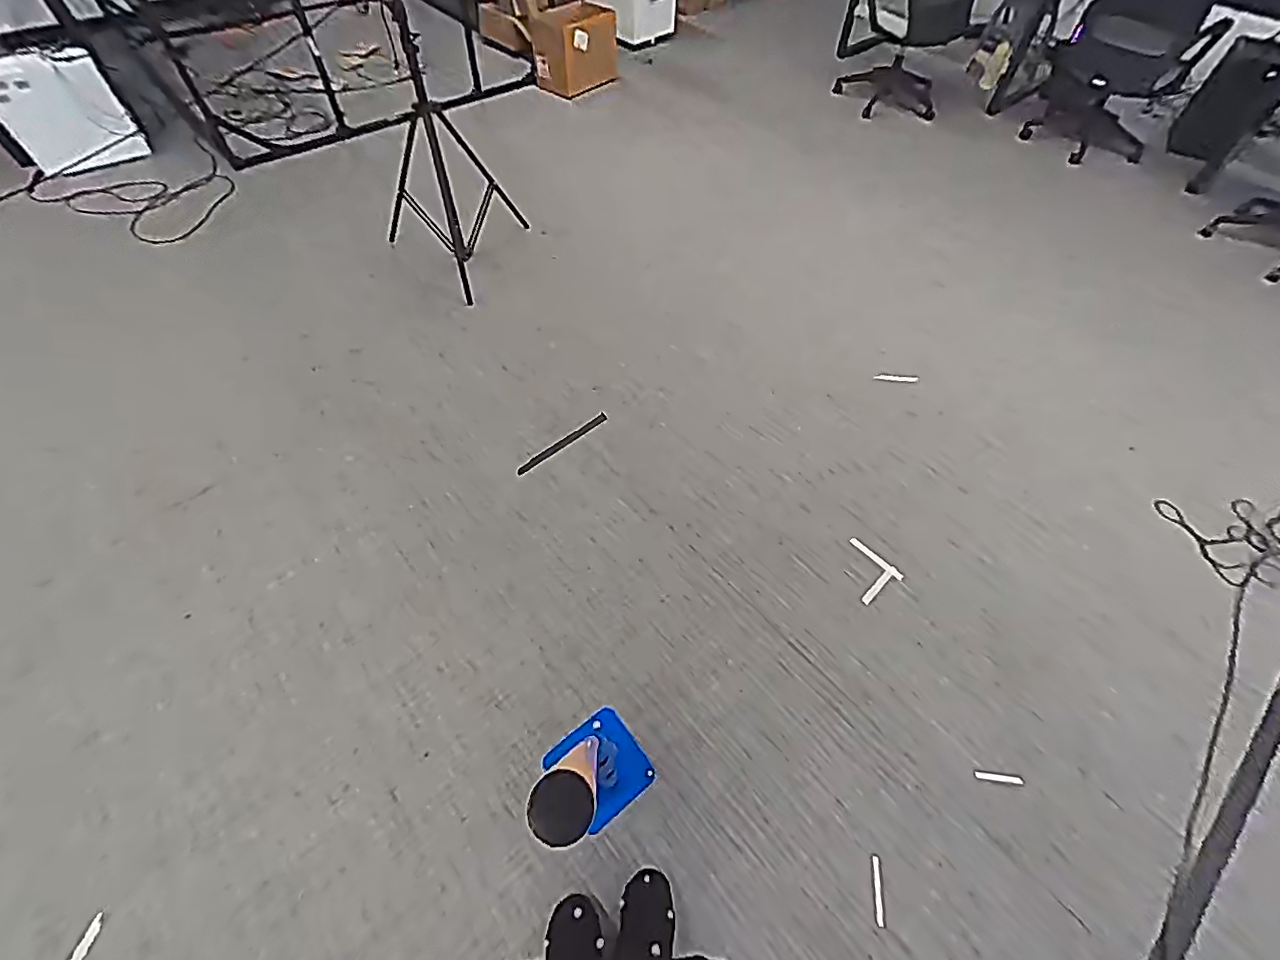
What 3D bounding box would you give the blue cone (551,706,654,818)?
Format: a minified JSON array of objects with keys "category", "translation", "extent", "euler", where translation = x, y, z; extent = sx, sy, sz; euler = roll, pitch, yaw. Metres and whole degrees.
[{"category":"blue cone","translation":[-0.083,0.555,1.115],"extent":[0.192,0.380,0.193],"euler":[-32,62,-22]}]
